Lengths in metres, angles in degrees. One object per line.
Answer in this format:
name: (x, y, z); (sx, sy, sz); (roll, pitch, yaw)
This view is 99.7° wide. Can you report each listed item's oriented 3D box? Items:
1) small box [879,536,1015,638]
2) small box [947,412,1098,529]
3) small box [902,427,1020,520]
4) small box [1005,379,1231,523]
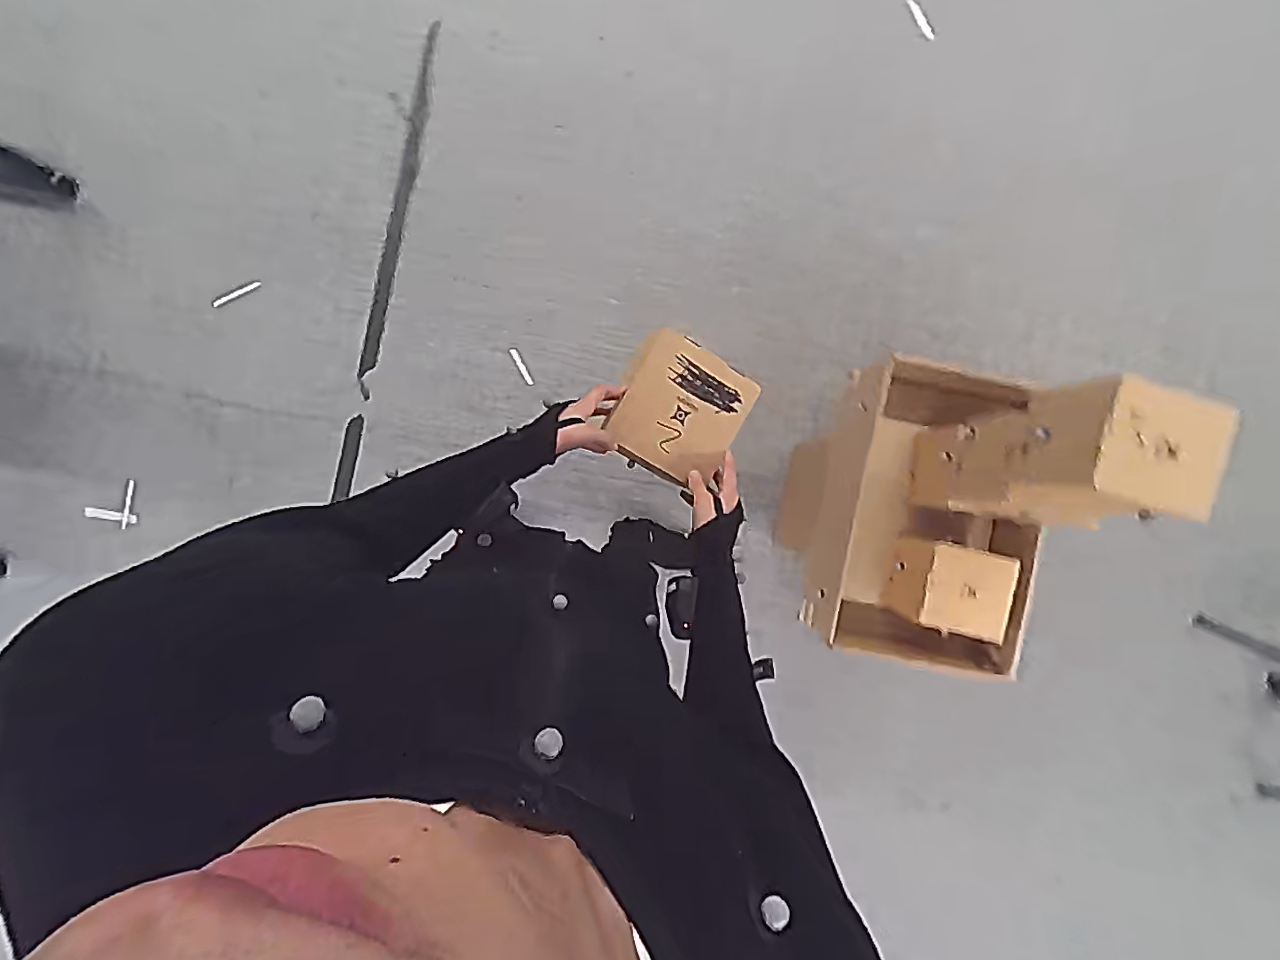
small box: (0.654, 0.222, 1.170); (0.179, 0.176, 0.168); (13, 90, -1)
small box: (0.713, -0.016, 1.003); (0.179, 0.176, 0.168); (16, 91, -3)
small box: (0.704, -0.016, 1.167); (0.179, 0.176, 0.168); (9, 91, -3)
small box: (0.724, -0.043, 0.838); (0.179, 0.176, 0.168); (17, 90, -2)
